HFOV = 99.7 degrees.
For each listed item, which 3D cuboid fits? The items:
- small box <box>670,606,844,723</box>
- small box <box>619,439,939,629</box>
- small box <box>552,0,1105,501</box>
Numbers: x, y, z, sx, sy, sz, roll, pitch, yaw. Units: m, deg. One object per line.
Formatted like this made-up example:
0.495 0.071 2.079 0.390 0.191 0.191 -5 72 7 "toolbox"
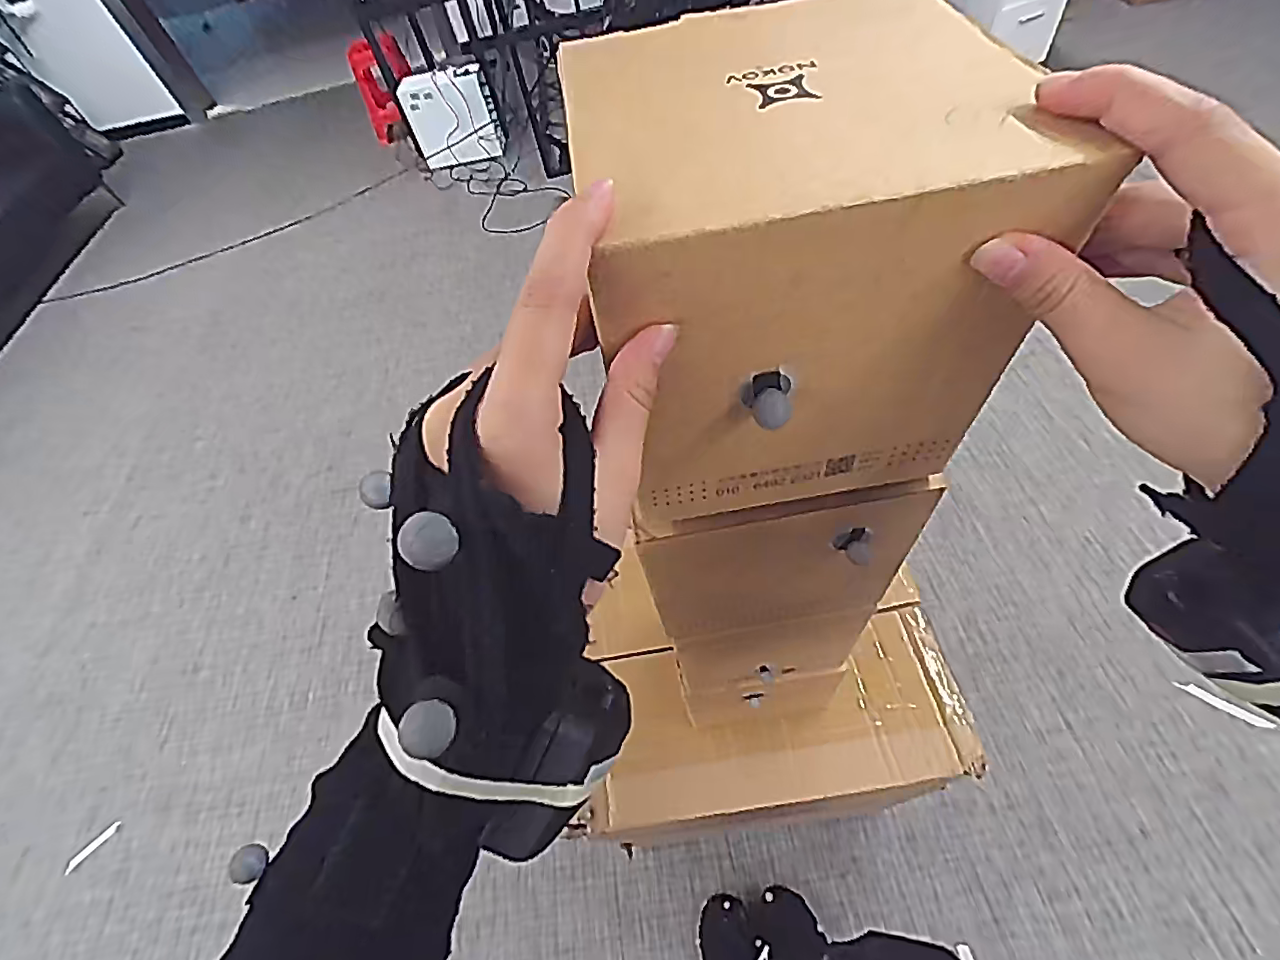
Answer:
0.131 0.191 0.672 0.179 0.176 0.168 -10 54 3 "small box"
0.082 -0.002 0.409 0.179 0.176 0.168 -11 54 3 "small box"
0.059 -0.104 0.273 0.168 0.176 0.179 -10 54 2 "small box"
